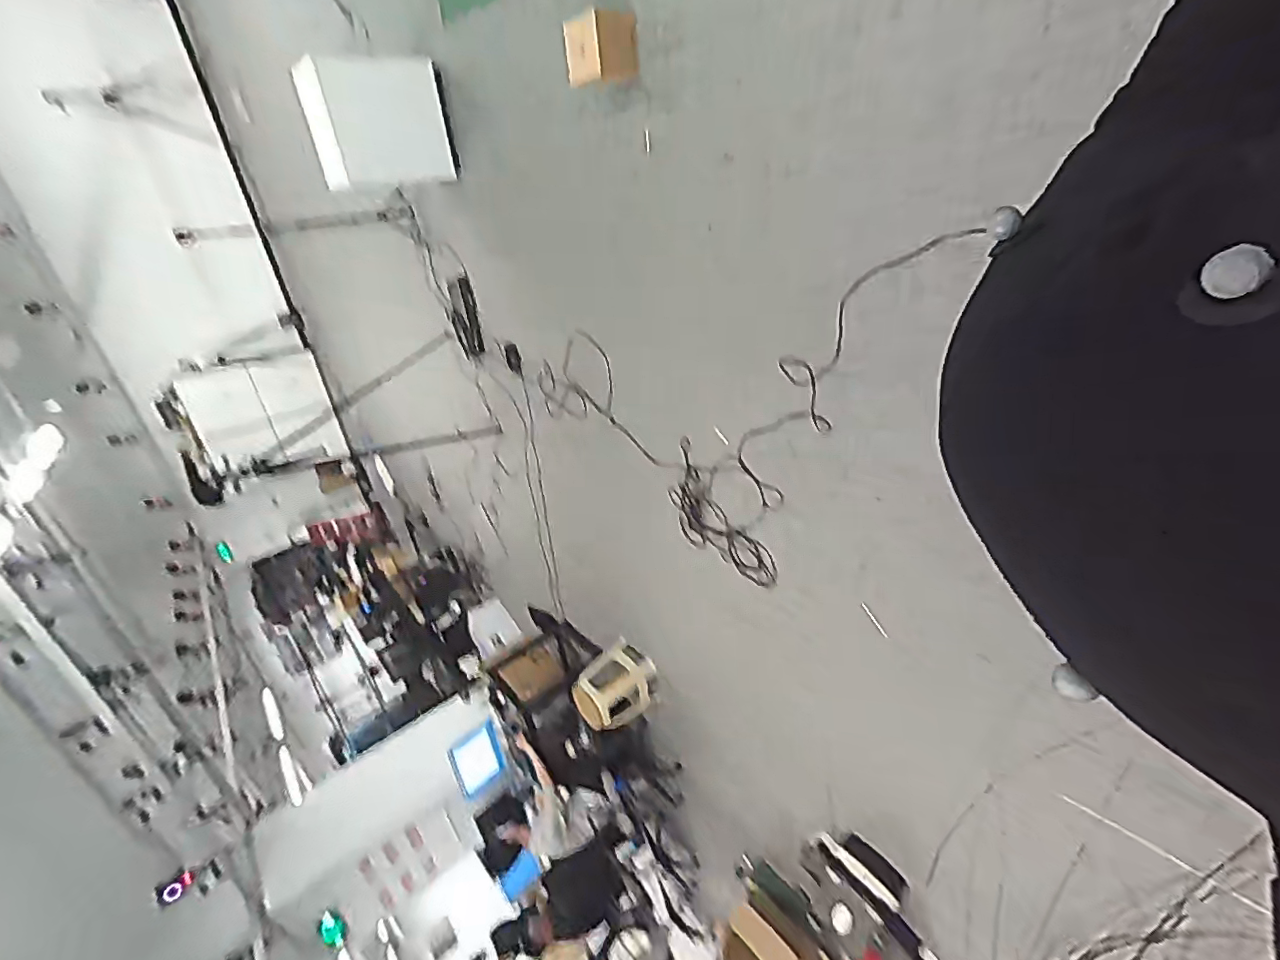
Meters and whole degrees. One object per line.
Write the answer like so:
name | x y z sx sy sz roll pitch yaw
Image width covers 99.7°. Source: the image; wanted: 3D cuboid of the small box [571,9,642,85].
small box | -0.106 -1.439 1.805 0.179 0.176 0.168 25 130 45
